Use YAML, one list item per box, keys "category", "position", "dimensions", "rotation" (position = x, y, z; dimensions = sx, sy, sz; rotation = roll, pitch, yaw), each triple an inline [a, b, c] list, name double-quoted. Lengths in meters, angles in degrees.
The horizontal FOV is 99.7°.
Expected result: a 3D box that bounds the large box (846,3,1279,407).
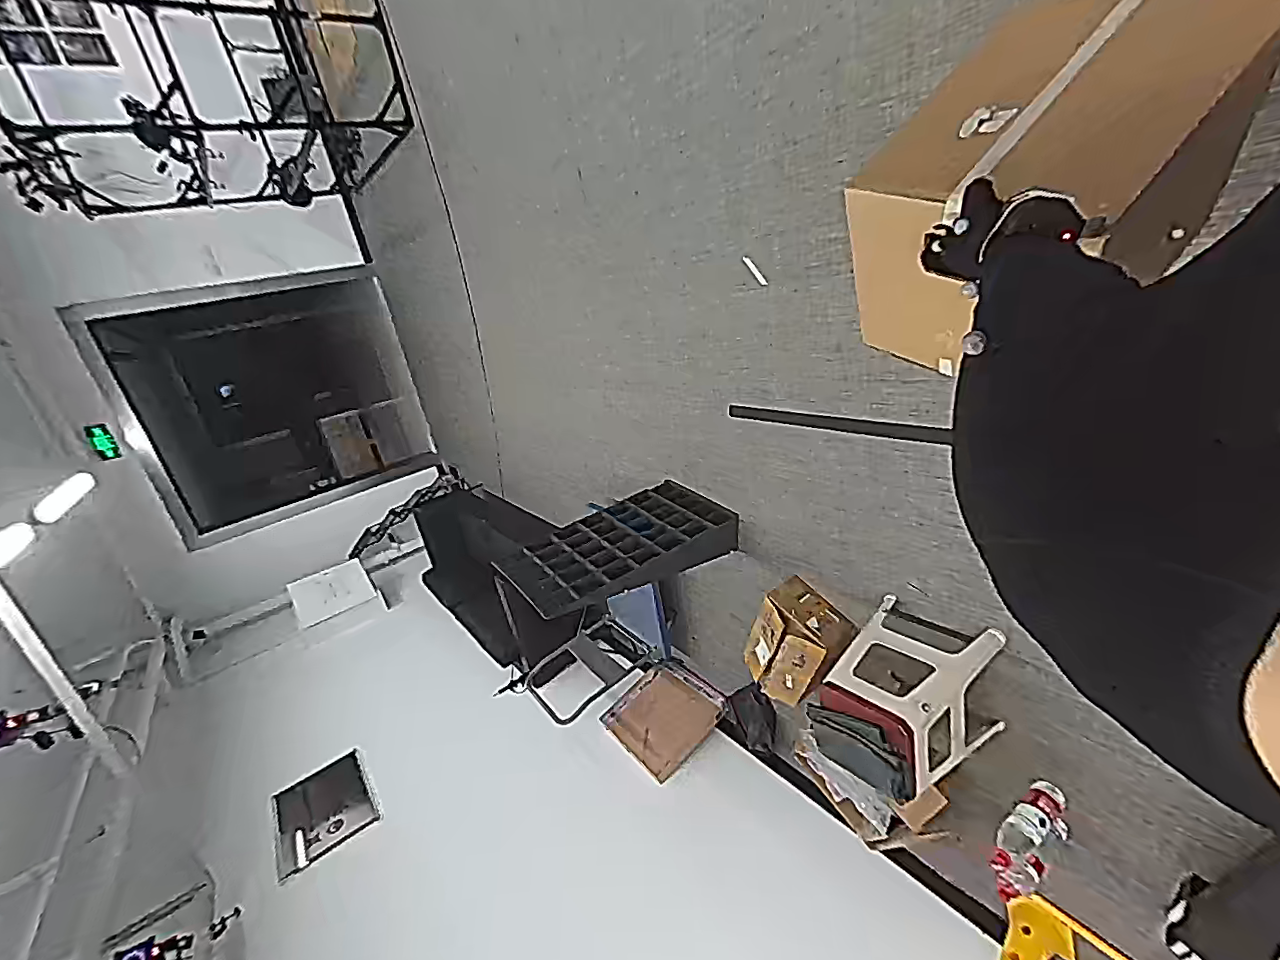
- category: "large box"
  position: [0.570, -0.390, 0.794]
  dimensions: [0.320, 0.408, 0.320]
  rotation: [38, 172, 40]
